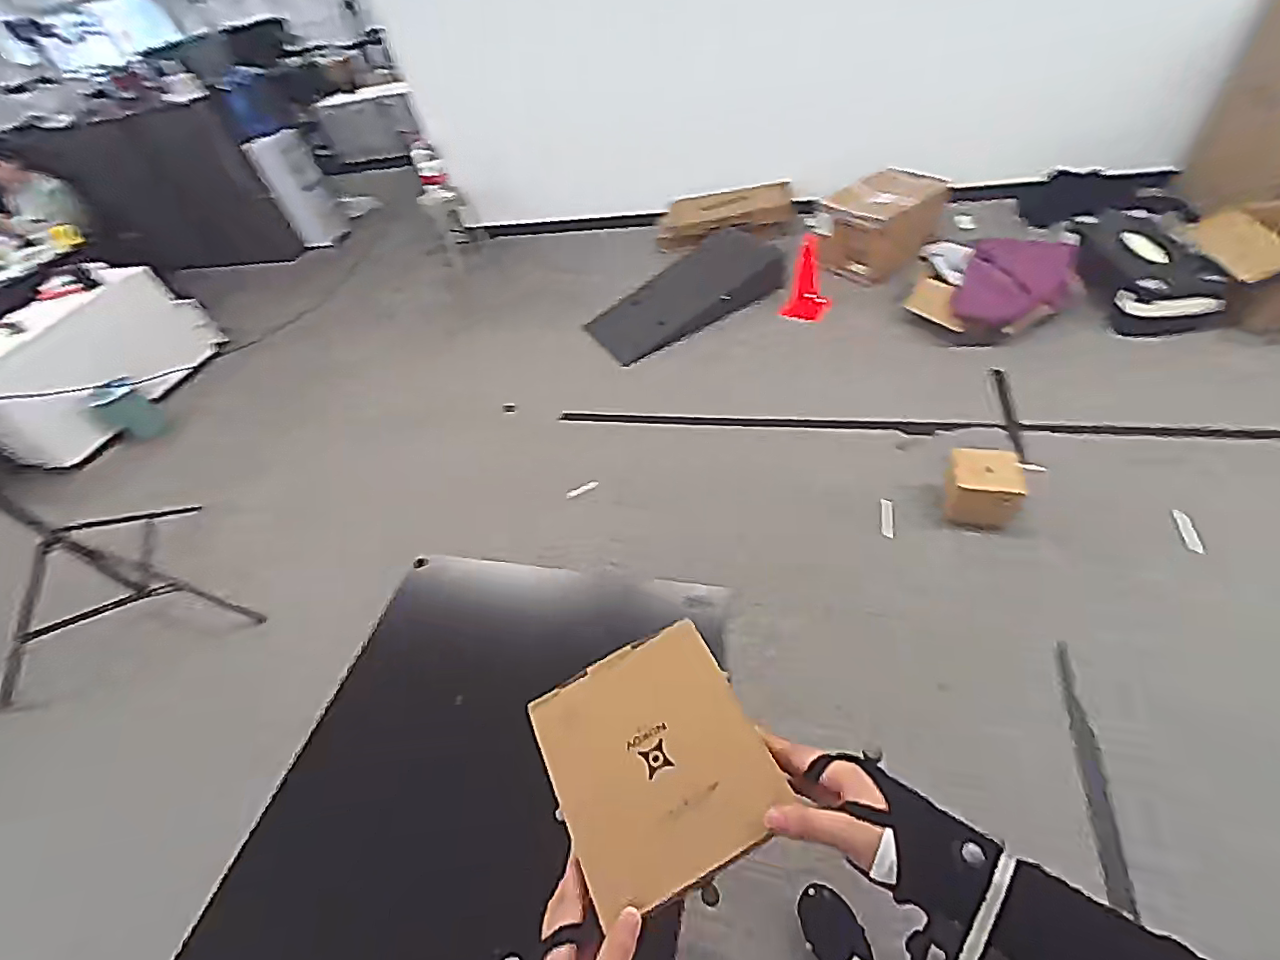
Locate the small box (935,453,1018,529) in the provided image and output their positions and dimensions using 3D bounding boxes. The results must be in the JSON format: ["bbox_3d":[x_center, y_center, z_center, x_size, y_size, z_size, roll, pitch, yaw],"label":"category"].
[{"bbox_3d":[1.044,0.038,1.691,0.179,0.176,0.168,5,49,18],"label":"small box"}]

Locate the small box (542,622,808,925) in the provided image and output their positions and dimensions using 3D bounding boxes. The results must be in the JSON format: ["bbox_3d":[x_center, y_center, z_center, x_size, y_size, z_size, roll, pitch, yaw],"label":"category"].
[{"bbox_3d":[0.030,0.270,0.505,0.168,0.176,0.179,-26,54,-8],"label":"small box"}]
